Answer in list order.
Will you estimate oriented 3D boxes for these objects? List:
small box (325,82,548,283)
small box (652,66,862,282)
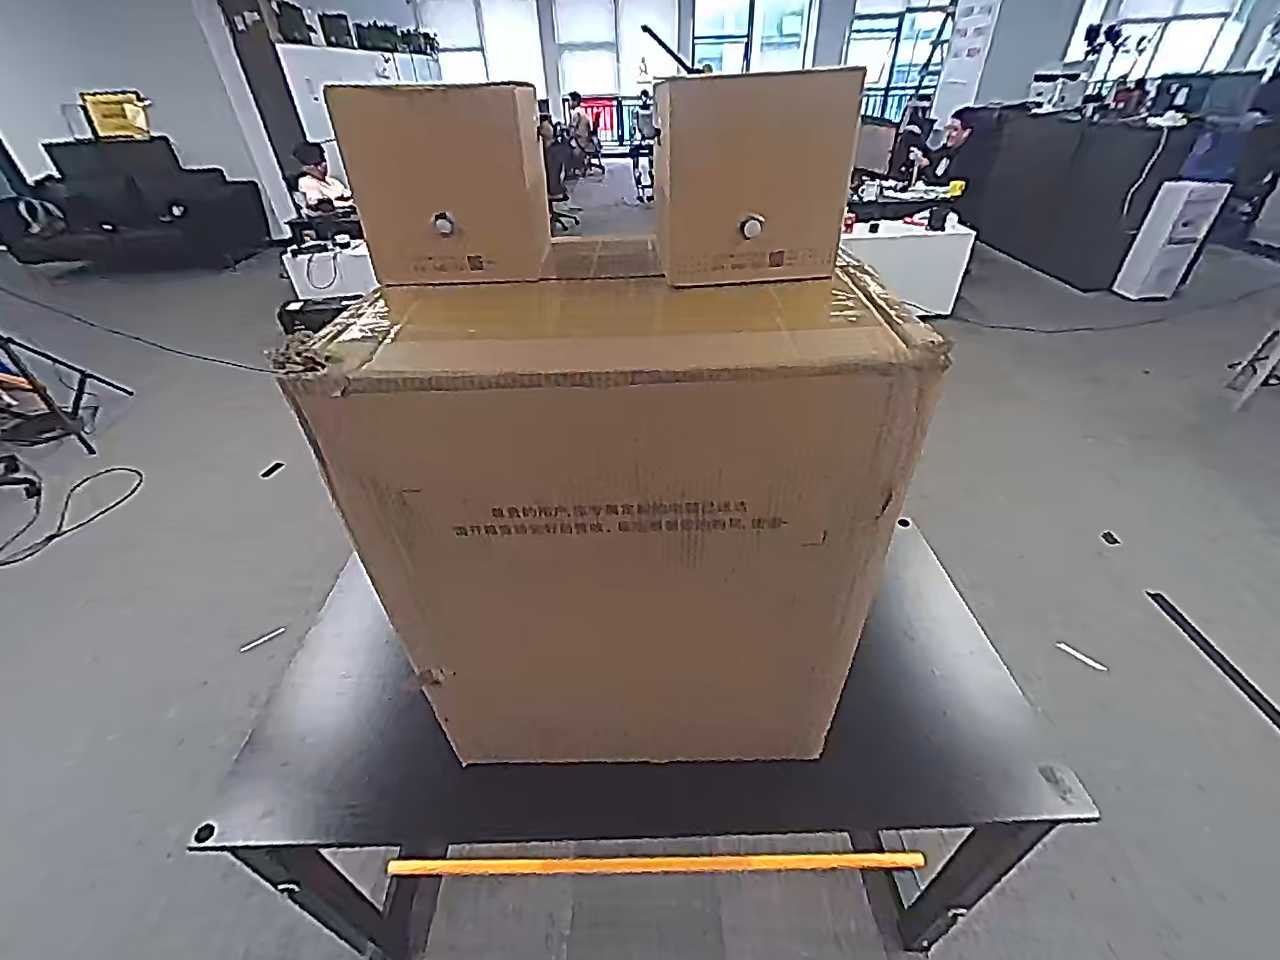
[{"bbox_3d":[-0.194,-0.319,0.579,0.168,0.176,0.179,-3,36,-2],"label":"small box"},{"bbox_3d":[0.099,-0.310,0.551,0.168,0.176,0.179,-4,36,-1],"label":"small box"}]
